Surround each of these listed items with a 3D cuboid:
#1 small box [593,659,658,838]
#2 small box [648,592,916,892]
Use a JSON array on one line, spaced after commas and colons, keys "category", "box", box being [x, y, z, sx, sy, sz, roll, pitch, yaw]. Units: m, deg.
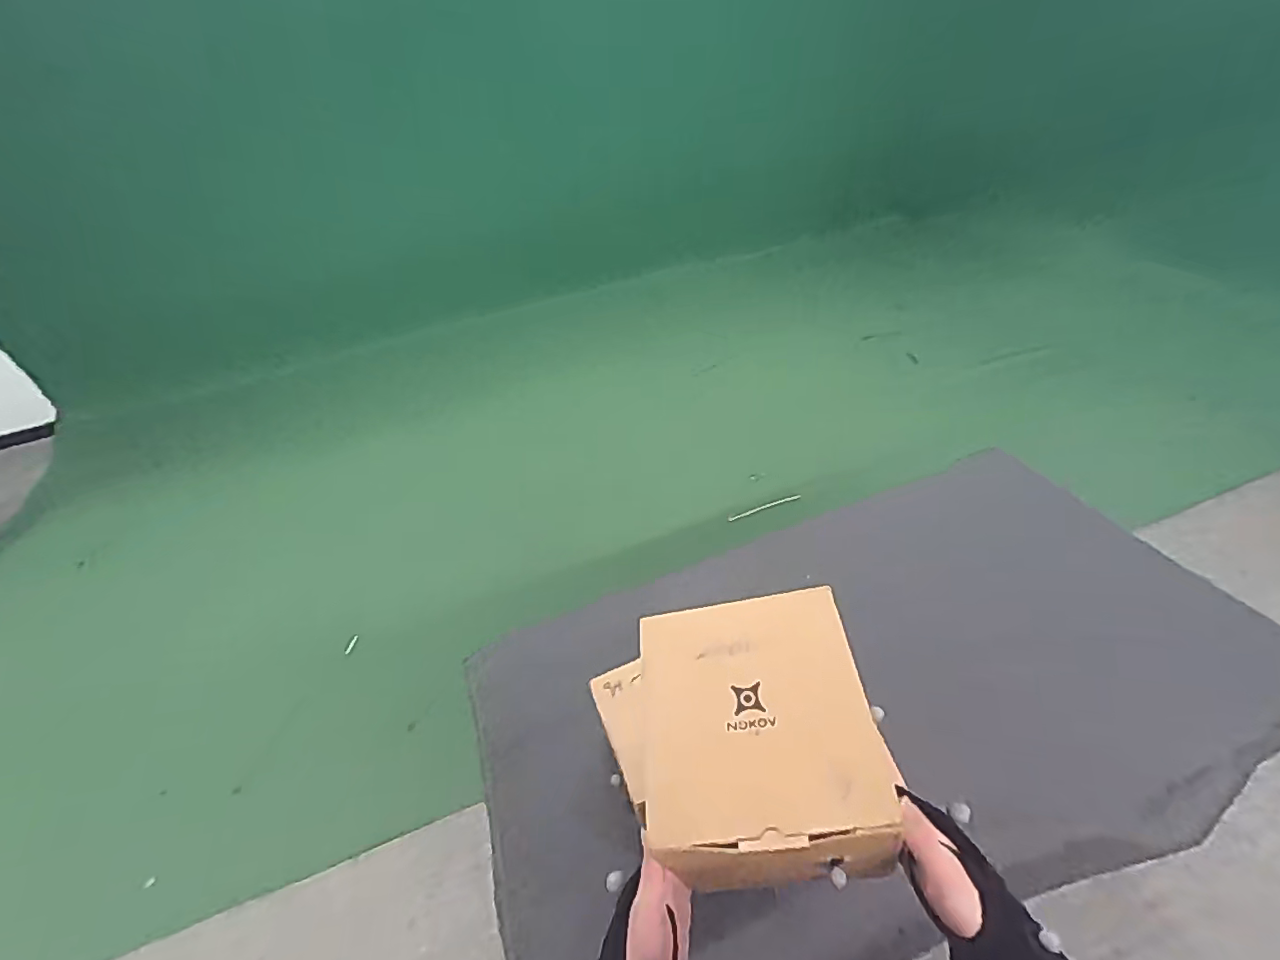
[{"category": "small box", "box": [0.050, 0.364, 0.753, 0.168, 0.176, 0.179, -20, 43, -13]}, {"category": "small box", "box": [0.109, 0.223, 0.451, 0.168, 0.176, 0.179, -12, 43, 9]}]
